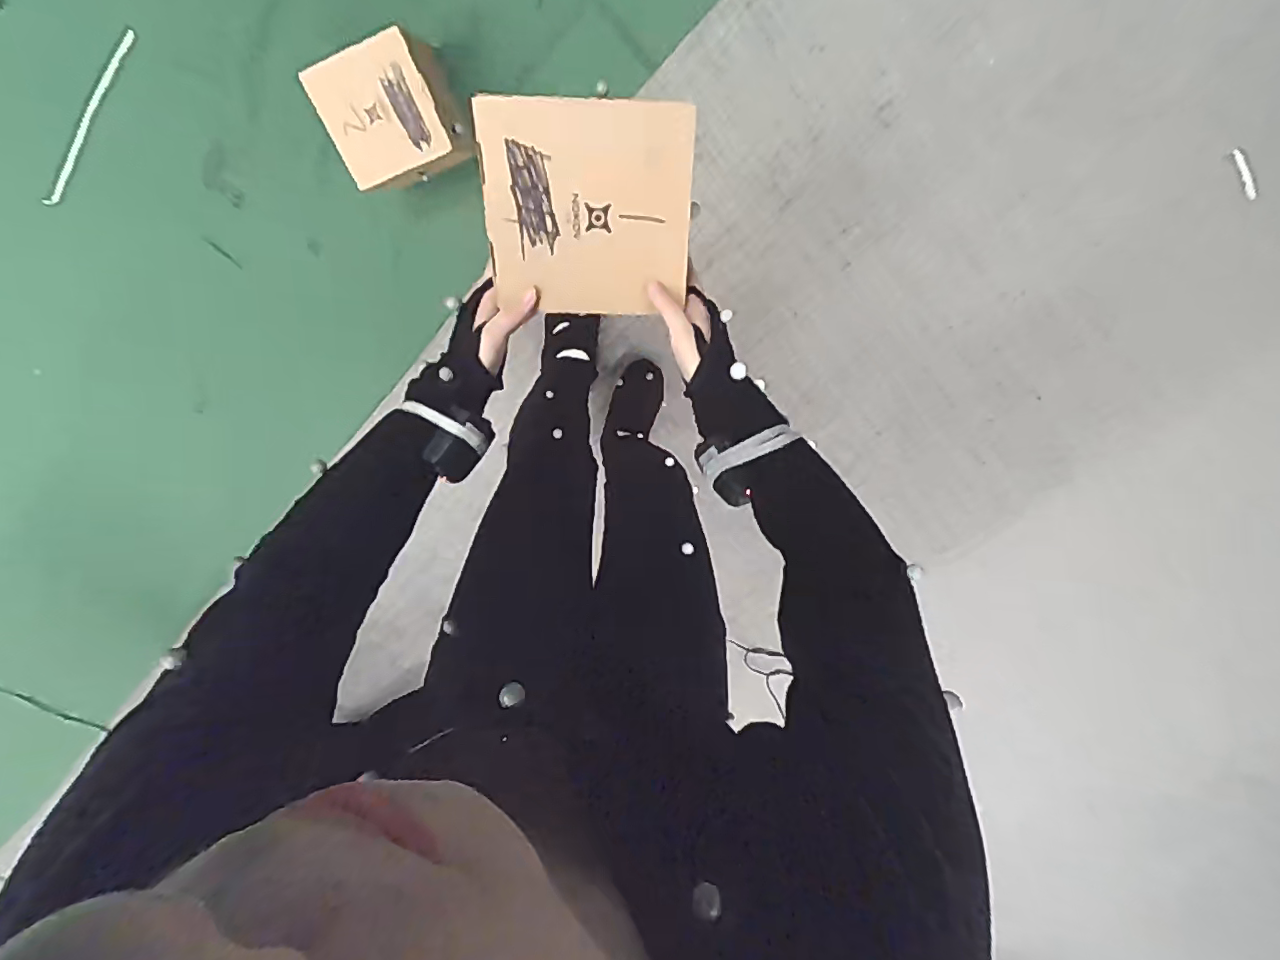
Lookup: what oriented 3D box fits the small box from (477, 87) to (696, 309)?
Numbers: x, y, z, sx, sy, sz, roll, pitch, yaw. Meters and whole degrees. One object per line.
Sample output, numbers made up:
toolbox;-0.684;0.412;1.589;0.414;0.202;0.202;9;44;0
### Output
small box;-0.043;-0.276;0.532;0.179;0.176;0.168;2;123;0
